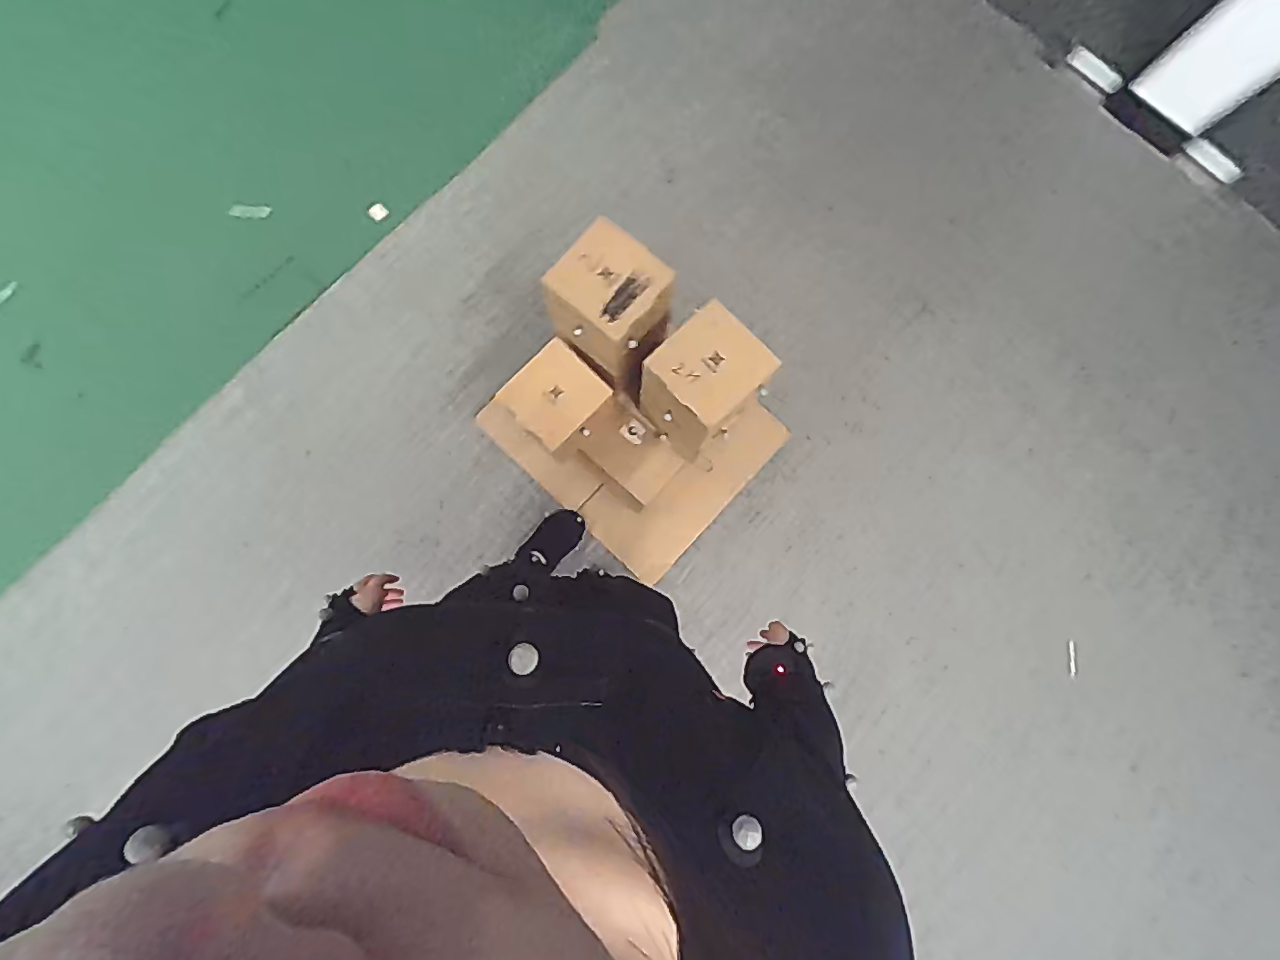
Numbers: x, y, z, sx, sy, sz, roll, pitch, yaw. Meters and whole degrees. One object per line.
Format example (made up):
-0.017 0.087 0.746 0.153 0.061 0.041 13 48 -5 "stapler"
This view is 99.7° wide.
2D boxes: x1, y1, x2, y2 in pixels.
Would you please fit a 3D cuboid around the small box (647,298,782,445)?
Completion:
0.125 -0.190 0.994 0.179 0.176 0.168 -43 84 -7 "small box"

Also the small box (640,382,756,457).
0.116 -0.166 1.160 0.168 0.176 0.179 -44 84 -7 "small box"
